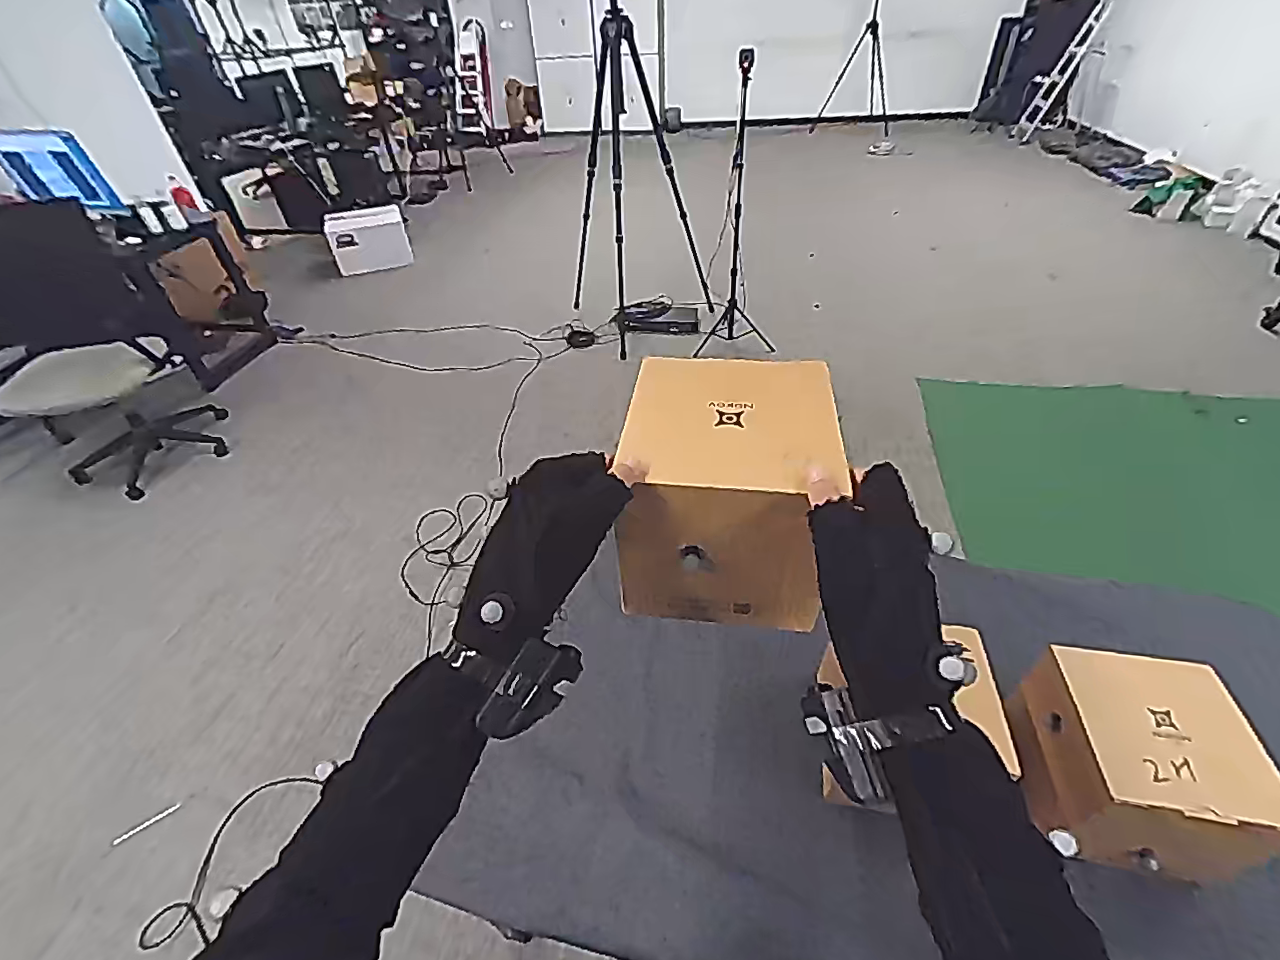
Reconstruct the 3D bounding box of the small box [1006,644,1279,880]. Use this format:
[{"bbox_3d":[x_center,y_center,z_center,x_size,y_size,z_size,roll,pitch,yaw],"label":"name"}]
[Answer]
[{"bbox_3d":[0.558,0.320,0.623,0.168,0.176,0.179,5,42,12],"label":"small box"}]
